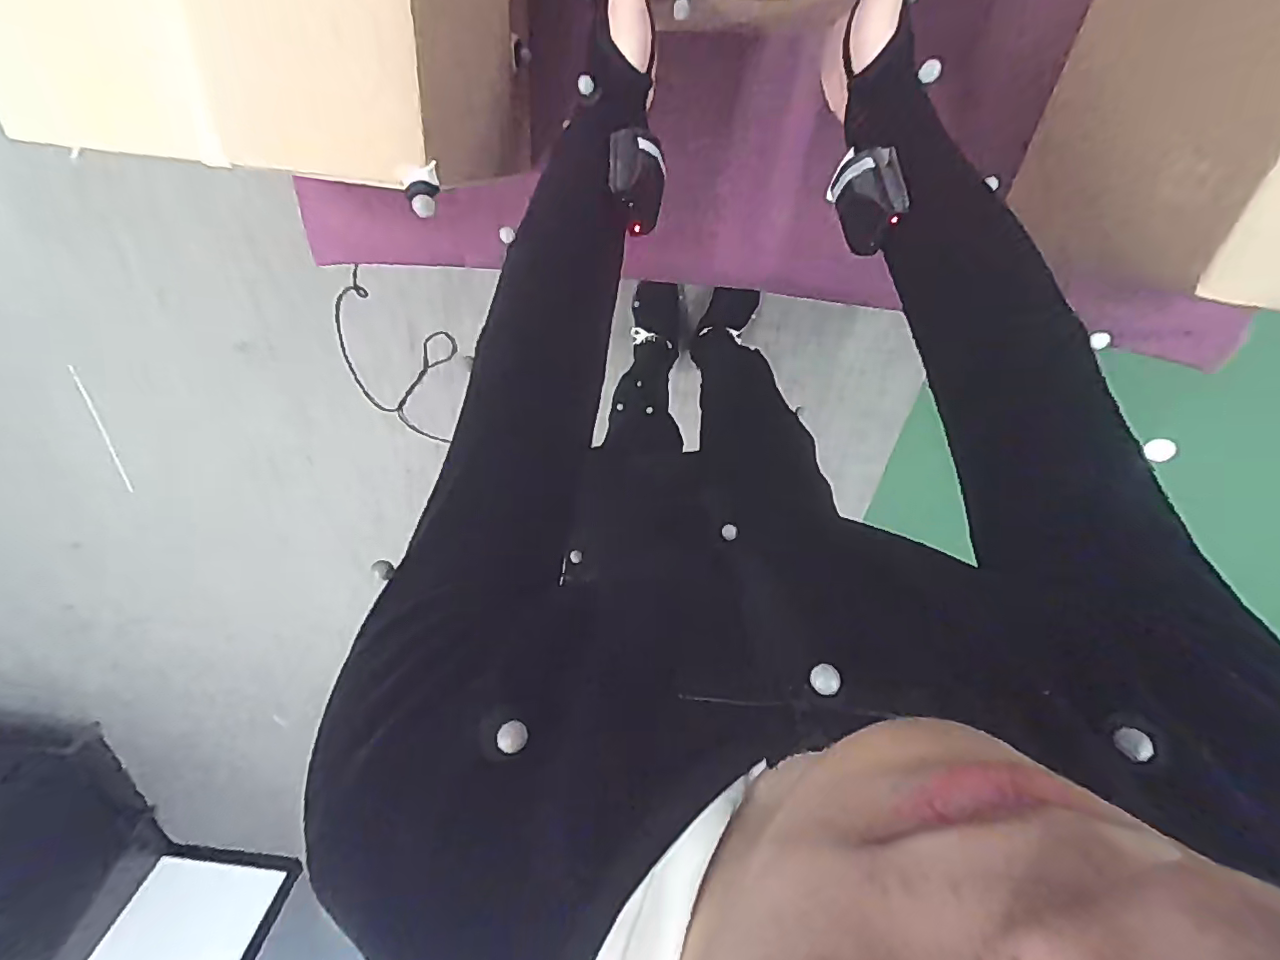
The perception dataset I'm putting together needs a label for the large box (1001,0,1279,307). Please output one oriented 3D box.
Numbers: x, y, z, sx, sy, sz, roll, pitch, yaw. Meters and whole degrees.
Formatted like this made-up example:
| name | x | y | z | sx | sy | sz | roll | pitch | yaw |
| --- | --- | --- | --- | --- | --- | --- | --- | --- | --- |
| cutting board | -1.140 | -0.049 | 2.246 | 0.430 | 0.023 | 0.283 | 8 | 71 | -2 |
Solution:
| name | x | y | z | sx | sy | sz | roll | pitch | yaw |
| --- | --- | --- | --- | --- | --- | --- | --- | --- | --- |
| large box | 0.587 | -0.363 | 0.418 | 0.320 | 0.320 | 0.408 | 8 | 122 | 0 |
